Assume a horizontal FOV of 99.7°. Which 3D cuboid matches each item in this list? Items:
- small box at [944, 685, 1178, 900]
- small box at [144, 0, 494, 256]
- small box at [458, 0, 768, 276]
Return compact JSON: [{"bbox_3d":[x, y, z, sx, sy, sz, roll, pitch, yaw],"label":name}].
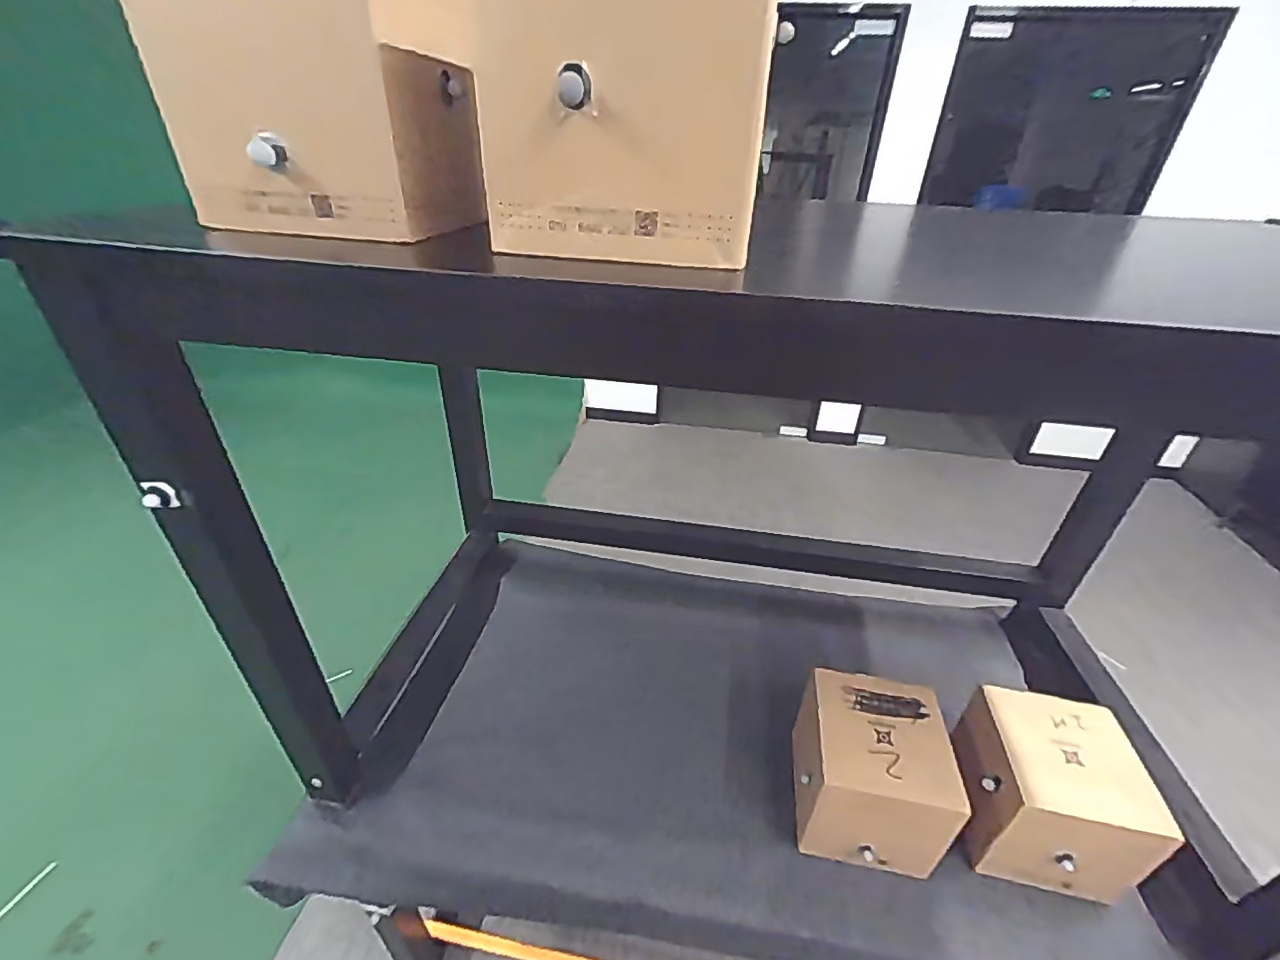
[{"bbox_3d":[0.535,0.414,0.722,0.168,0.176,0.179,9,32,10],"label":"small box"},{"bbox_3d":[-0.223,-0.283,0.420,0.168,0.176,0.179,7,33,8],"label":"small box"},{"bbox_3d":[-0.003,-0.248,0.380,0.168,0.176,0.179,7,32,8],"label":"small box"}]
